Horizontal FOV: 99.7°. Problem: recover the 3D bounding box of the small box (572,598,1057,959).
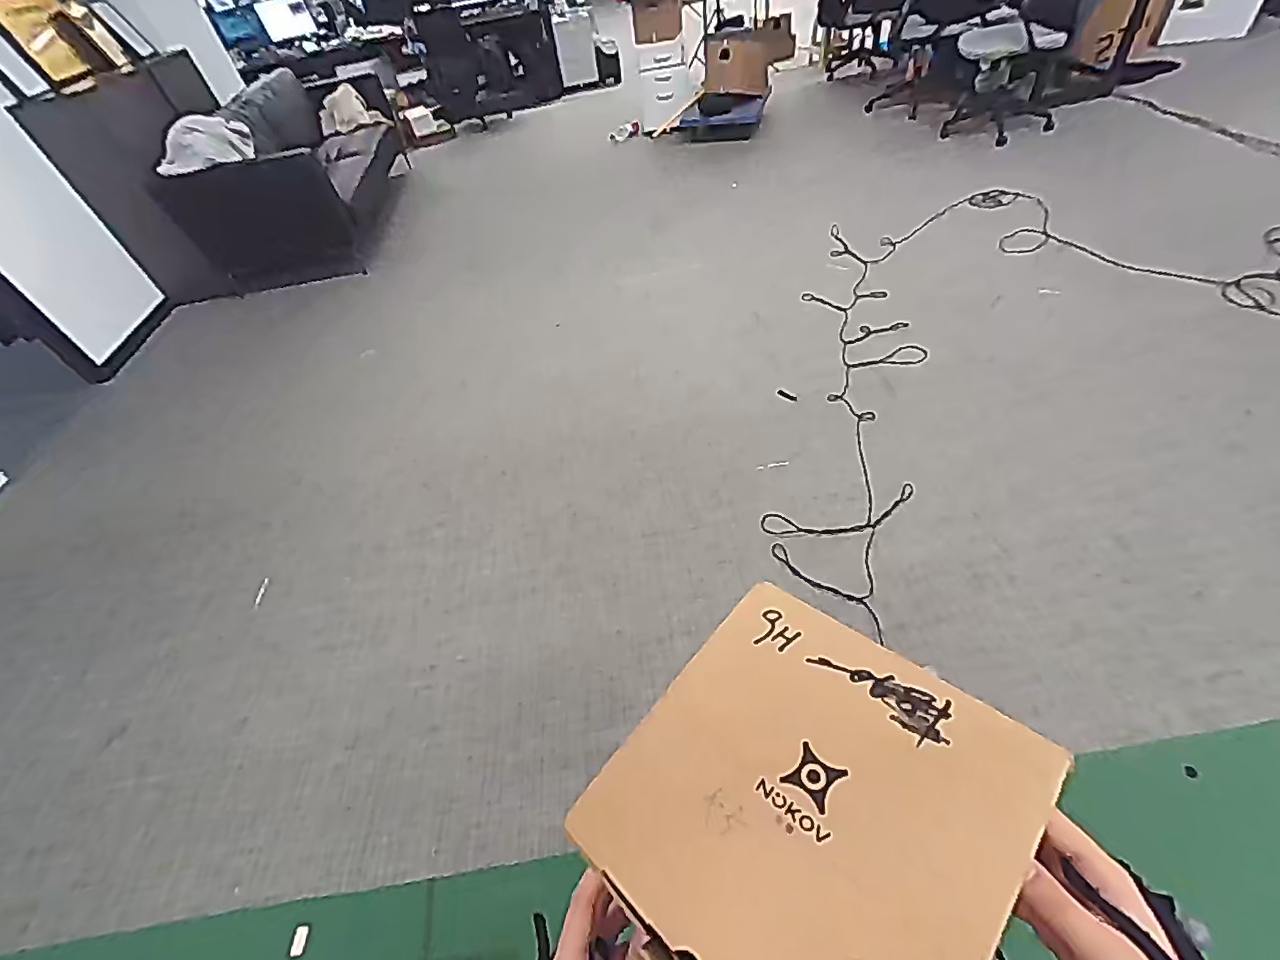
[{"bbox_3d":[0.096,0.211,0.314,0.168,0.176,0.179,27,59,37],"label":"small box"}]
